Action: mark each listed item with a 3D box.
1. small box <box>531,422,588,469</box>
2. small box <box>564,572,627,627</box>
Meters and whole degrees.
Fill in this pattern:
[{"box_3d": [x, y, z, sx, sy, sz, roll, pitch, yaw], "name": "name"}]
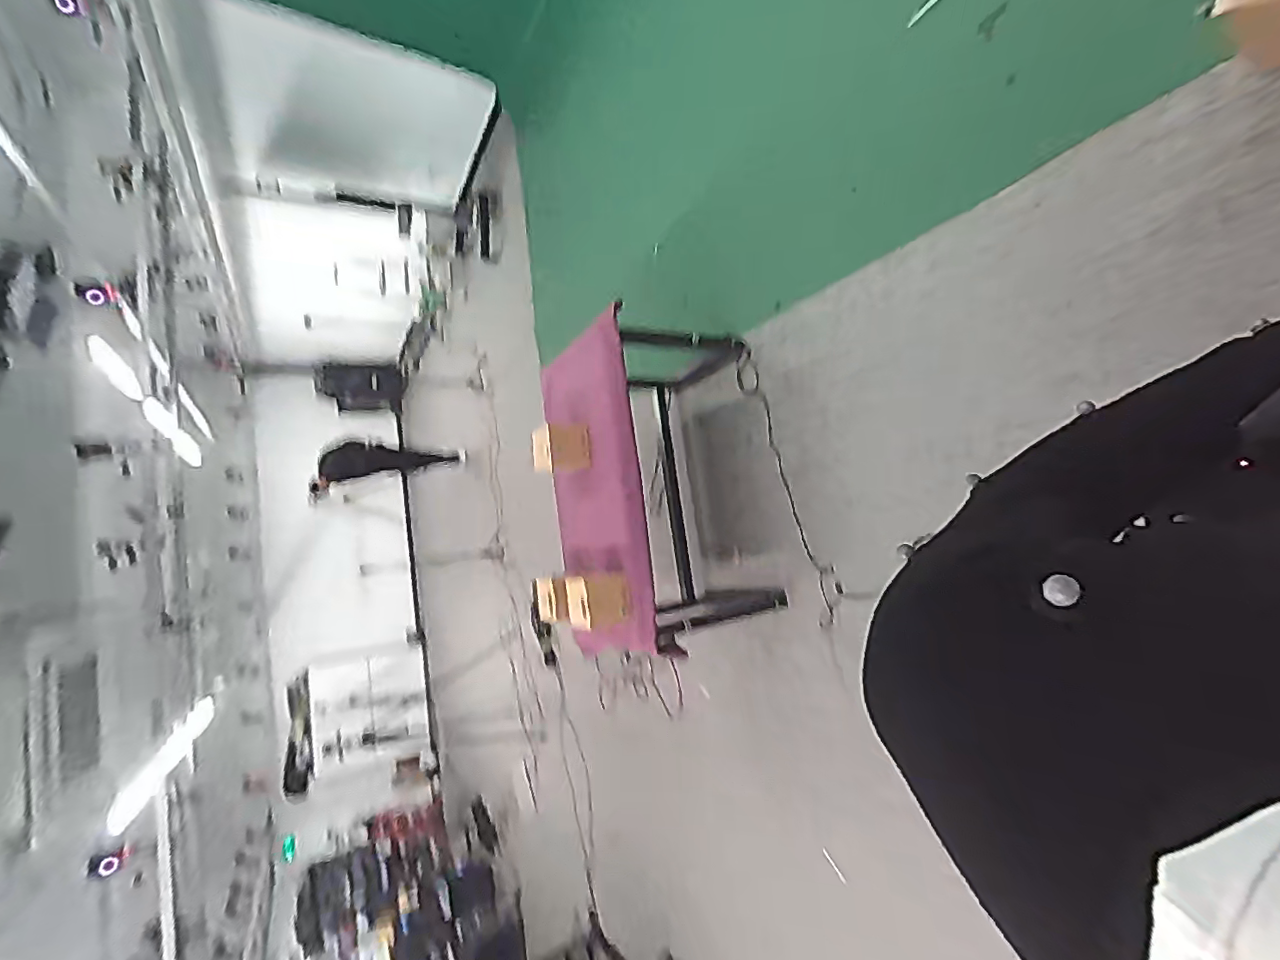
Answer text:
[{"box_3d": [-0.320, -0.135, 2.143, 0.179, 0.176, 0.168, -9, 87, 58], "name": "small box"}, {"box_3d": [-0.156, 0.423, 1.940, 0.179, 0.176, 0.168, -17, 79, 58], "name": "small box"}]
